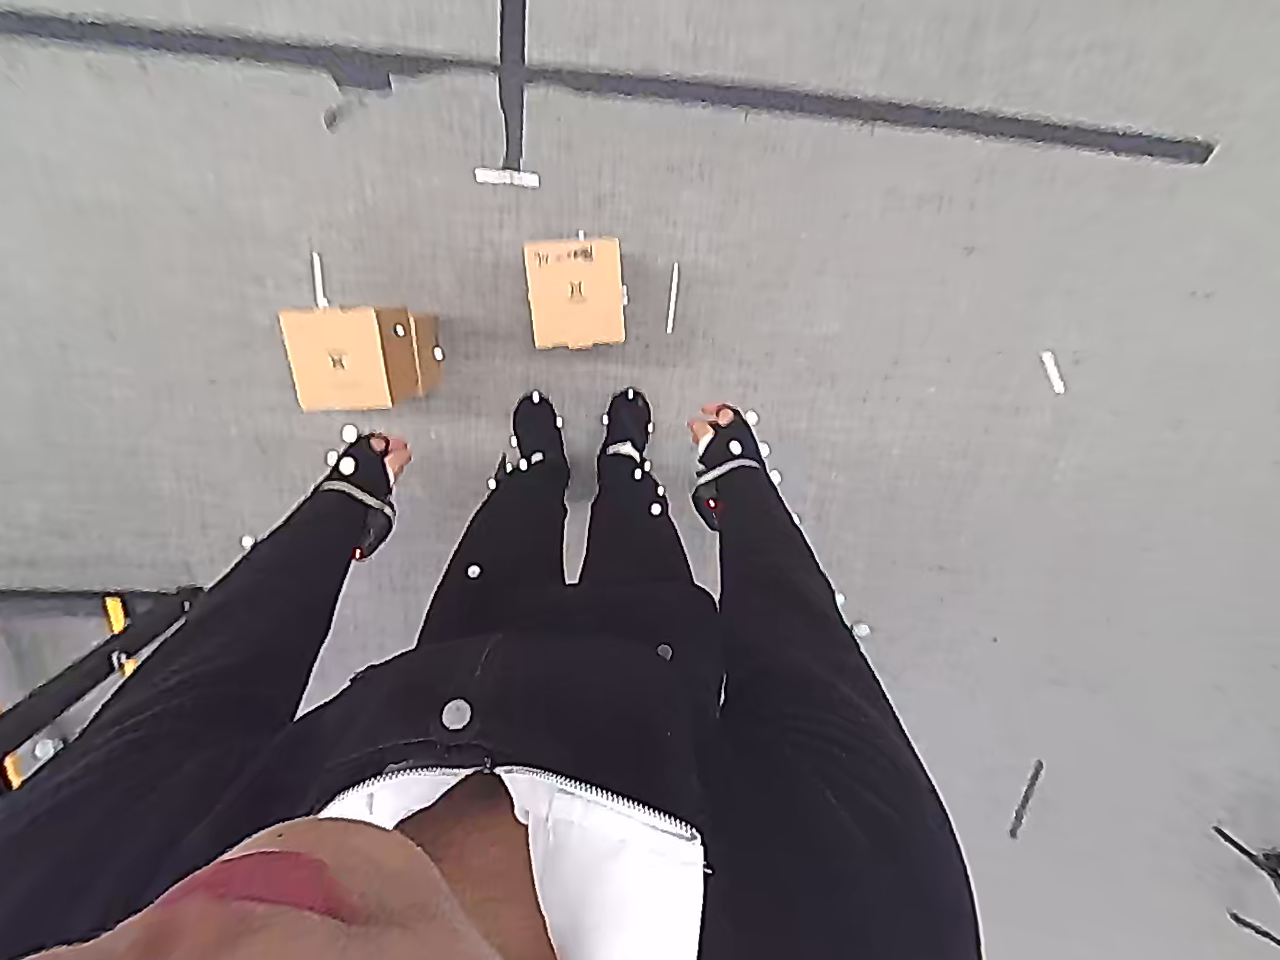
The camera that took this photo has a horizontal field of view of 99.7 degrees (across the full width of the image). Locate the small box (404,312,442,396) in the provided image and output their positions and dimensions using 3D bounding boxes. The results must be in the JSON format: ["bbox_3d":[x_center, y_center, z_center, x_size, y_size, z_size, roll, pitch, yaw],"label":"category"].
[{"bbox_3d":[-0.553,-0.283,1.194,0.179,0.176,0.168,0,109,-5],"label":"small box"}]

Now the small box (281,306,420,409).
[{"bbox_3d":[-0.541,-0.241,1.037,0.168,0.176,0.179,-3,110,-2],"label":"small box"}]

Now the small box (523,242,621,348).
[{"bbox_3d":[-0.122,-0.354,1.032,0.168,0.176,0.179,-4,110,-3],"label":"small box"}]
